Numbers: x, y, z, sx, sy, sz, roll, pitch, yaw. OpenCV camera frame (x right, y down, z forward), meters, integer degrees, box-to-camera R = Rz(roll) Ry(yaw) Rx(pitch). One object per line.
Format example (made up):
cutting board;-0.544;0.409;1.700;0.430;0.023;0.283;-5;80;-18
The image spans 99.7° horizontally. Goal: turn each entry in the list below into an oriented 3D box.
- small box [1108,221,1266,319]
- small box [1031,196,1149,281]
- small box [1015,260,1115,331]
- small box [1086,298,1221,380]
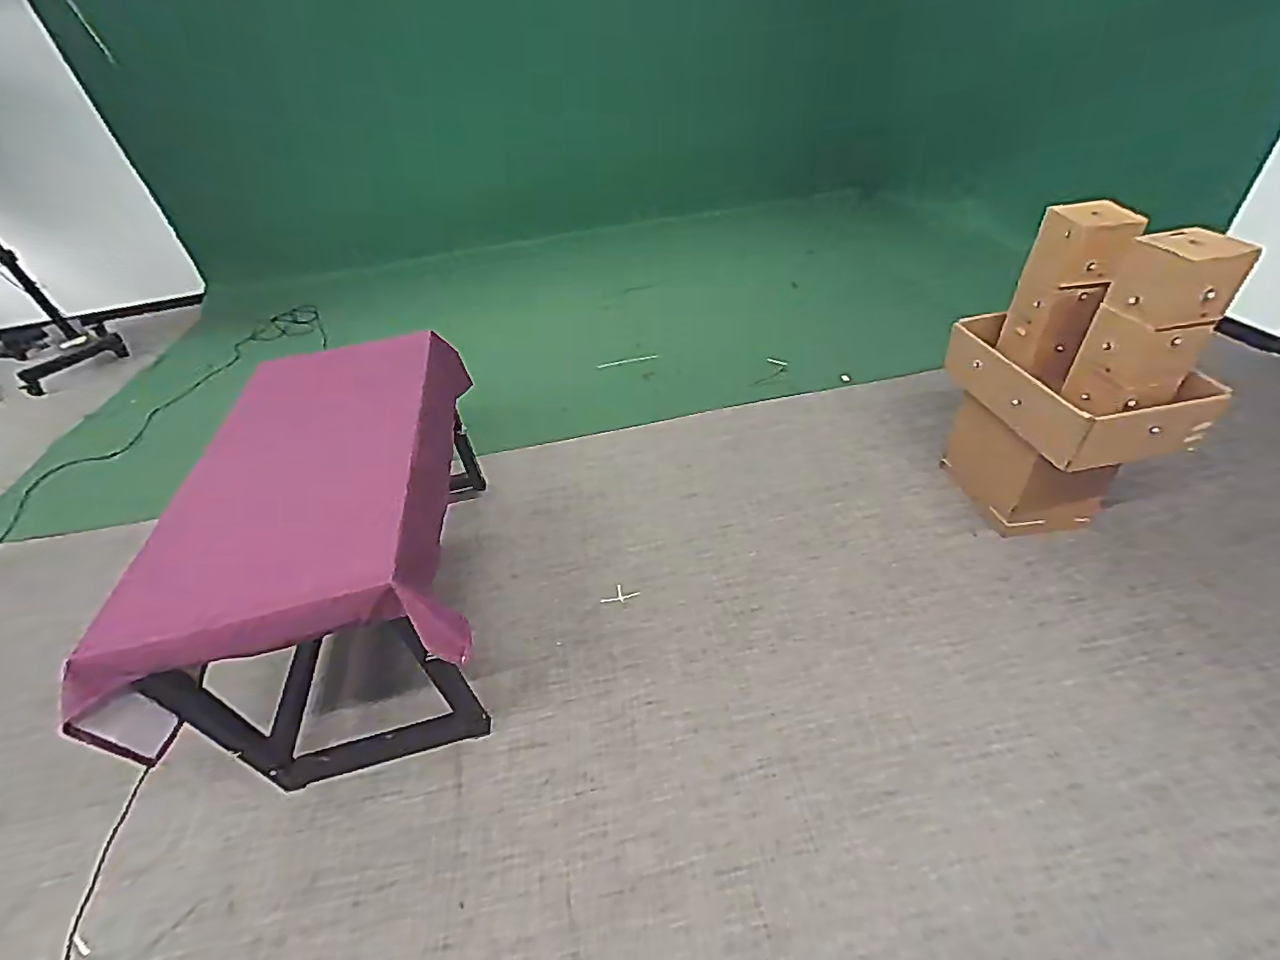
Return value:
small box;1.304;-0.501;1.306;0.168;0.176;0.179;-10;41;0
small box;1.257;-0.682;1.529;0.168;0.176;0.179;-5;44;5
small box;1.280;-0.566;1.640;0.179;0.176;0.168;-7;42;2
small box;1.323;-0.379;1.415;0.179;0.176;0.168;-10;41;-1
